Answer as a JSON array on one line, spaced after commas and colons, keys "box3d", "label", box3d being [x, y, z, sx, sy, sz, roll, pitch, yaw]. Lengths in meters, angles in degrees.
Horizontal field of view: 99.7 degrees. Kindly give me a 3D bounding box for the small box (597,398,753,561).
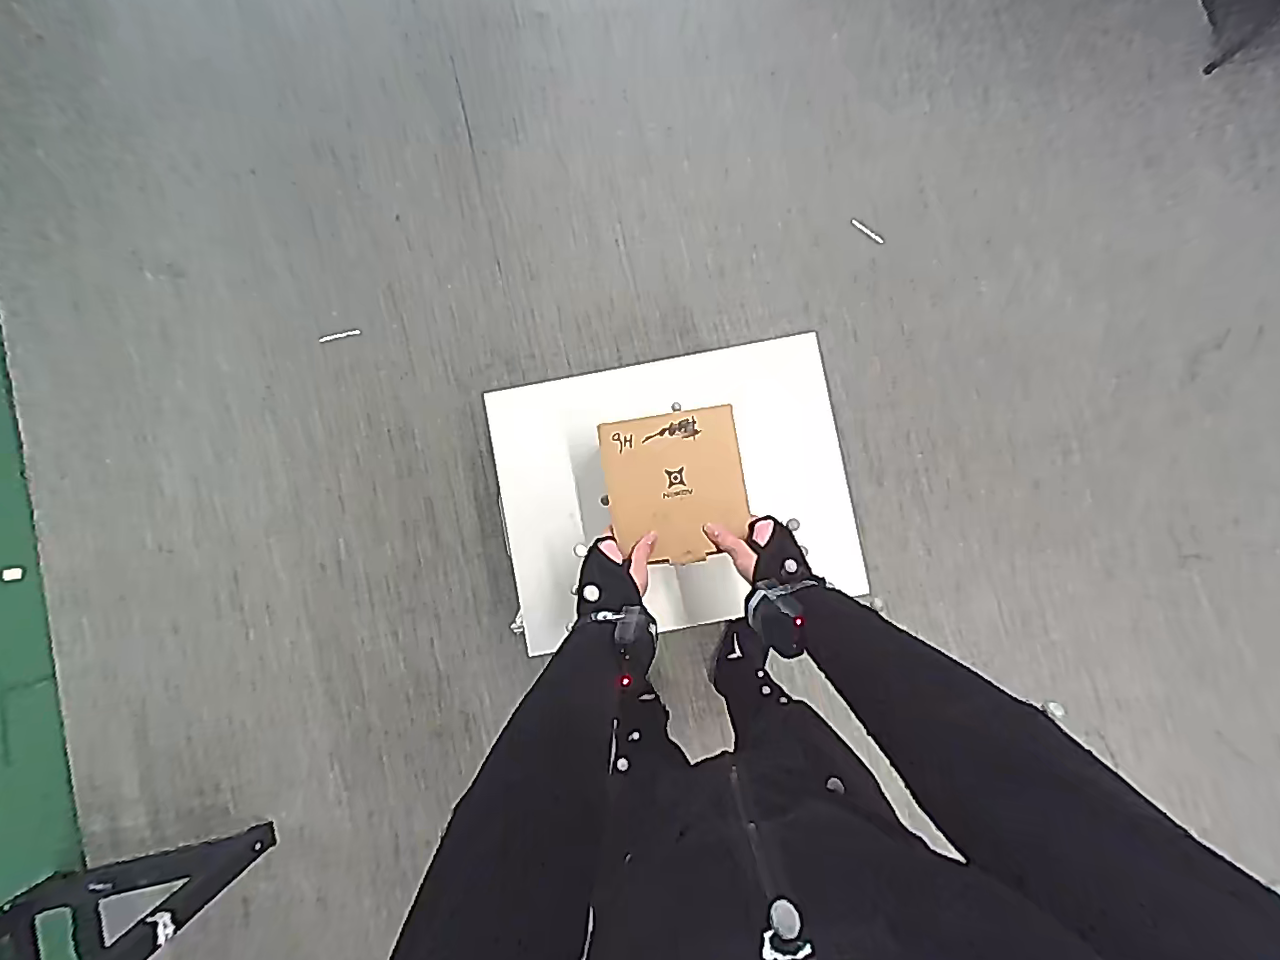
[{"box3d": [0.044, 0.002, 0.729, 0.168, 0.176, 0.179, -11, 86, 0], "label": "small box"}]
